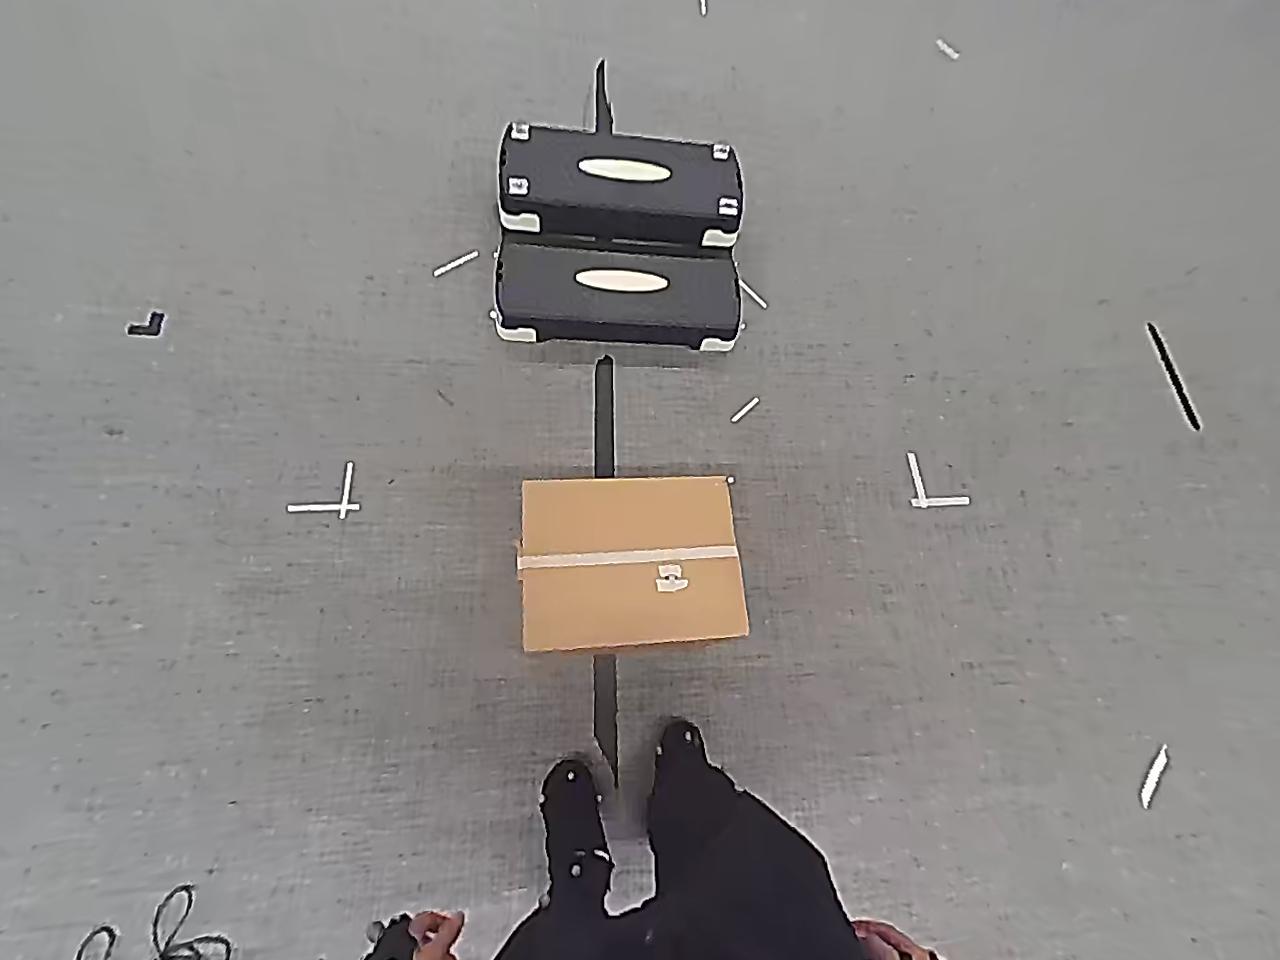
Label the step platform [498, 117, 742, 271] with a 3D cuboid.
[{"bbox_3d":[-0.055,-0.811,1.546,0.684,0.204,0.286,5,70,-7],"label":"step platform"}]

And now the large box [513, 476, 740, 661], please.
[{"bbox_3d":[-0.049,0.195,1.132,0.408,0.320,0.320,-2,71,-10],"label":"large box"}]
